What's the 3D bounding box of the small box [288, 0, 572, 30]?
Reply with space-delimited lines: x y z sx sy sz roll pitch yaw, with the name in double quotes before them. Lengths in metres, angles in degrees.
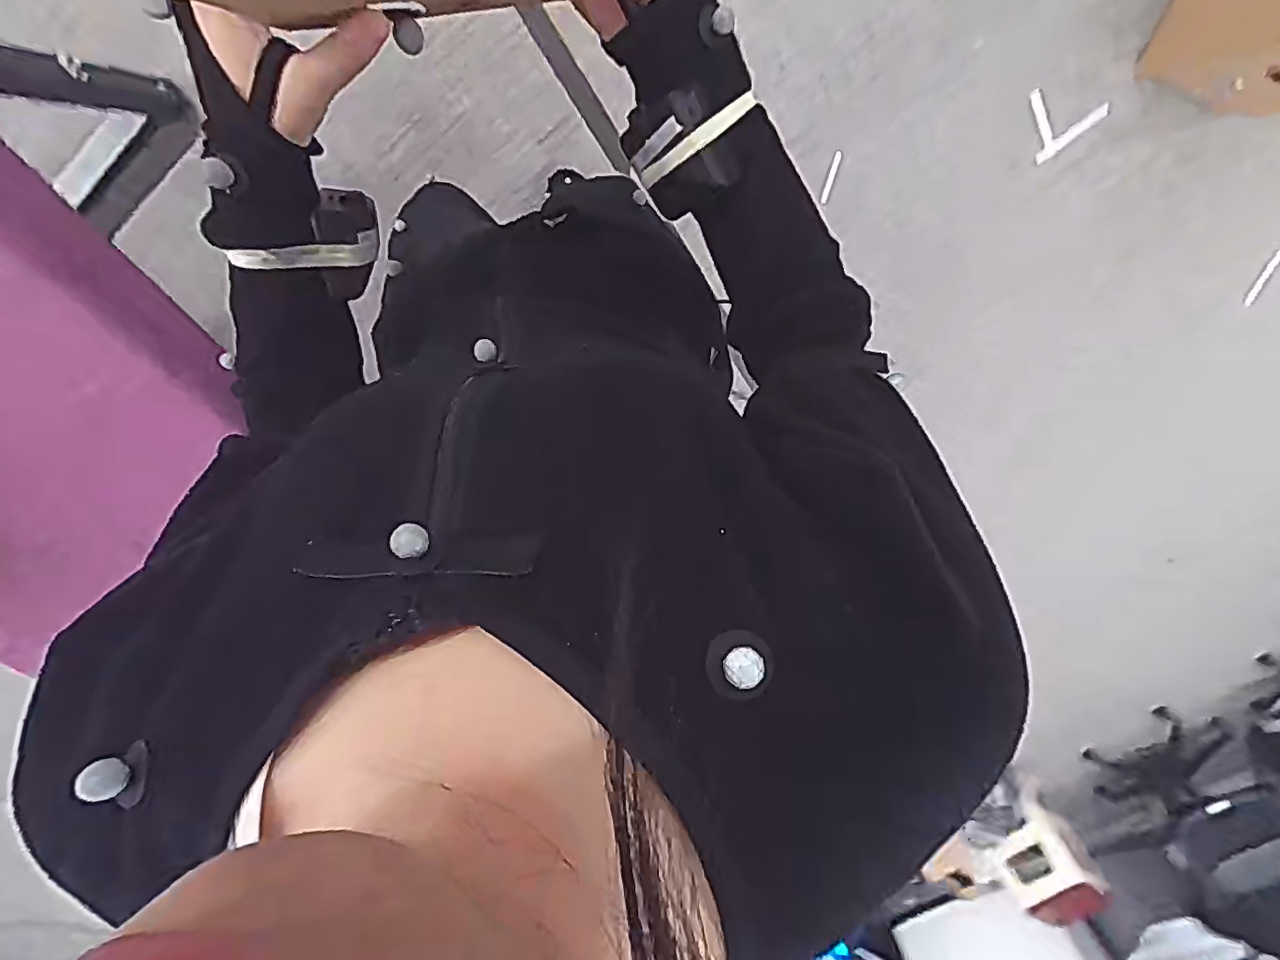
"small box" -0.105 -0.300 0.201 0.168 0.176 0.179 -8 124 -1
